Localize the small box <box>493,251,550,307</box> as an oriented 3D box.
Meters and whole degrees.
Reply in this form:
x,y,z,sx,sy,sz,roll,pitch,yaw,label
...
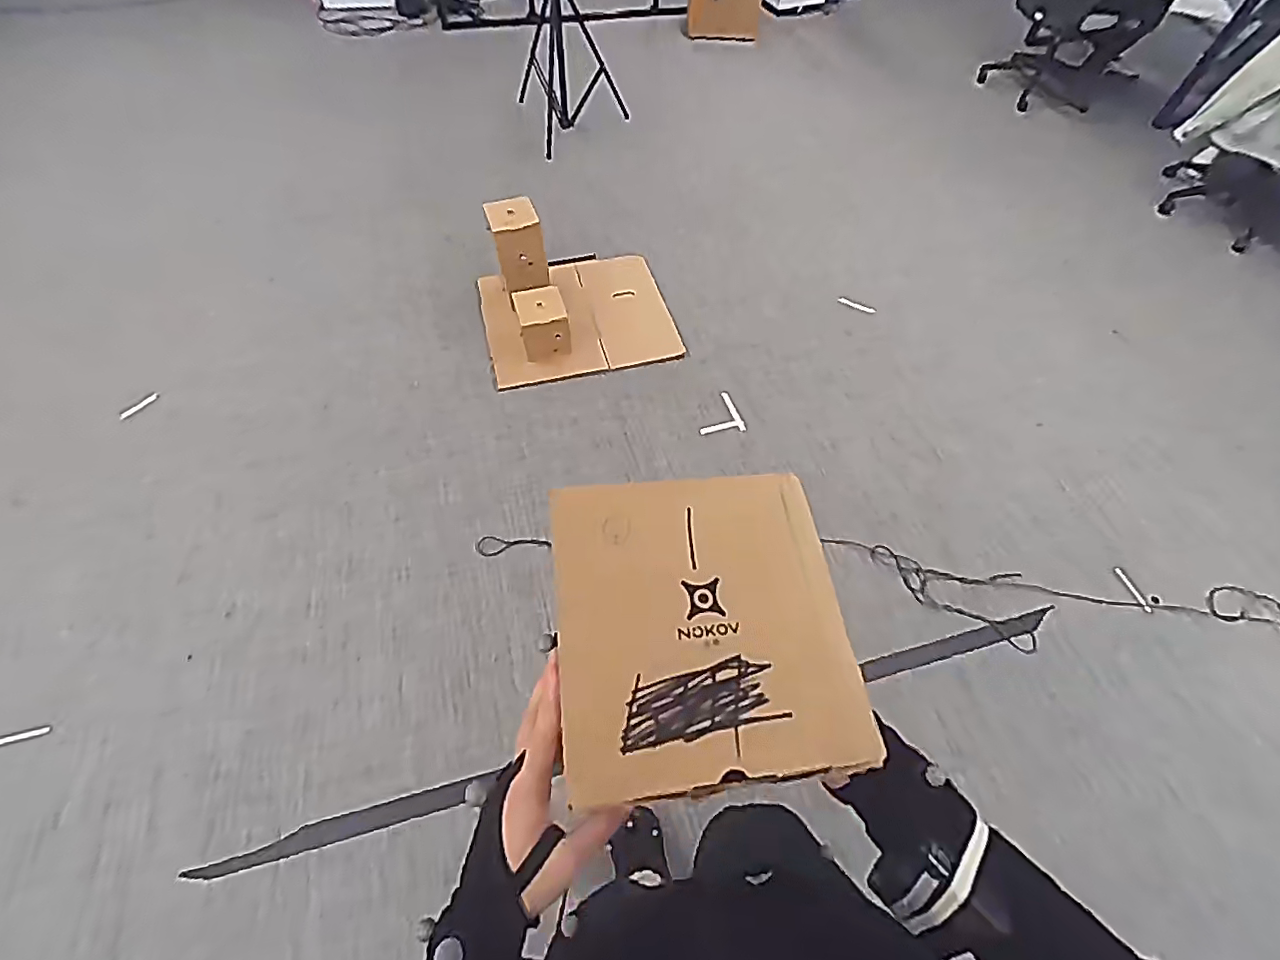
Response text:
x,y,z,sx,sy,sz,roll,pitch,yaw,label
-0.447,-0.782,2.070,0.168,0.176,0.179,-19,61,-14,small box

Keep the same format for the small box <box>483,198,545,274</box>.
x,y,z,sx,sy,sz,roll,pitch,yaw,label
-0.446,-0.869,1.931,0.168,0.176,0.179,-18,60,-12,small box

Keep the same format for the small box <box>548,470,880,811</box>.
x,y,z,sx,sy,sz,roll,pitch,yaw,label
0.027,0.112,0.375,0.168,0.176,0.179,-4,62,-9,small box

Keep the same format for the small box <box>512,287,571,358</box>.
x,y,z,sx,sy,sz,roll,pitch,yaw,label
-0.350,-0.555,1.933,0.168,0.176,0.179,-15,59,-12,small box
